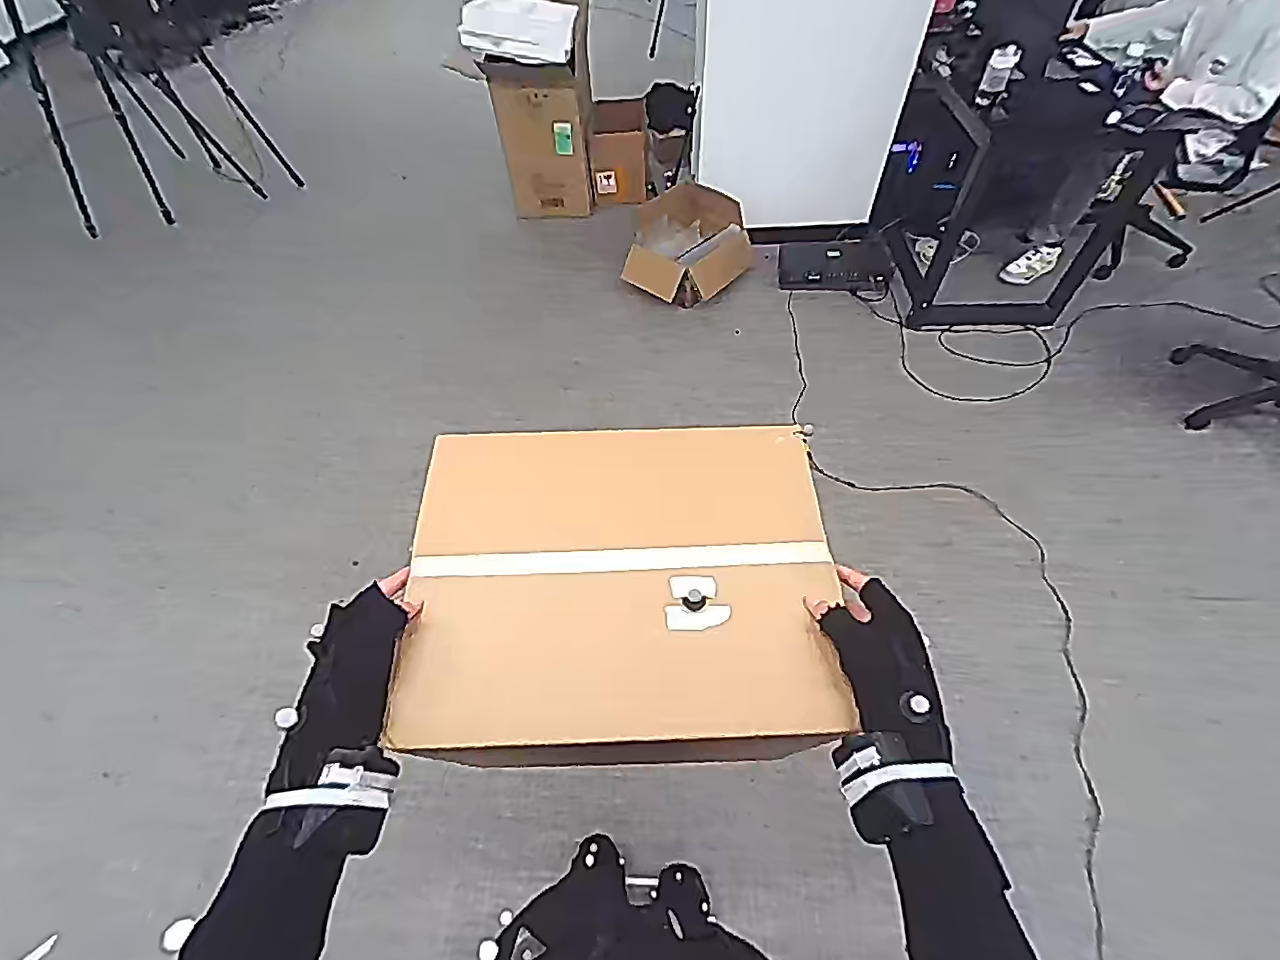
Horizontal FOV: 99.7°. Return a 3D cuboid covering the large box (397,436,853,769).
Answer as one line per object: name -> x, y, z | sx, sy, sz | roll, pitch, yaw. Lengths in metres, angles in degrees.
large box -> -0.018, 0.163, 0.666 | 0.408, 0.320, 0.320 | -1, 59, -1
